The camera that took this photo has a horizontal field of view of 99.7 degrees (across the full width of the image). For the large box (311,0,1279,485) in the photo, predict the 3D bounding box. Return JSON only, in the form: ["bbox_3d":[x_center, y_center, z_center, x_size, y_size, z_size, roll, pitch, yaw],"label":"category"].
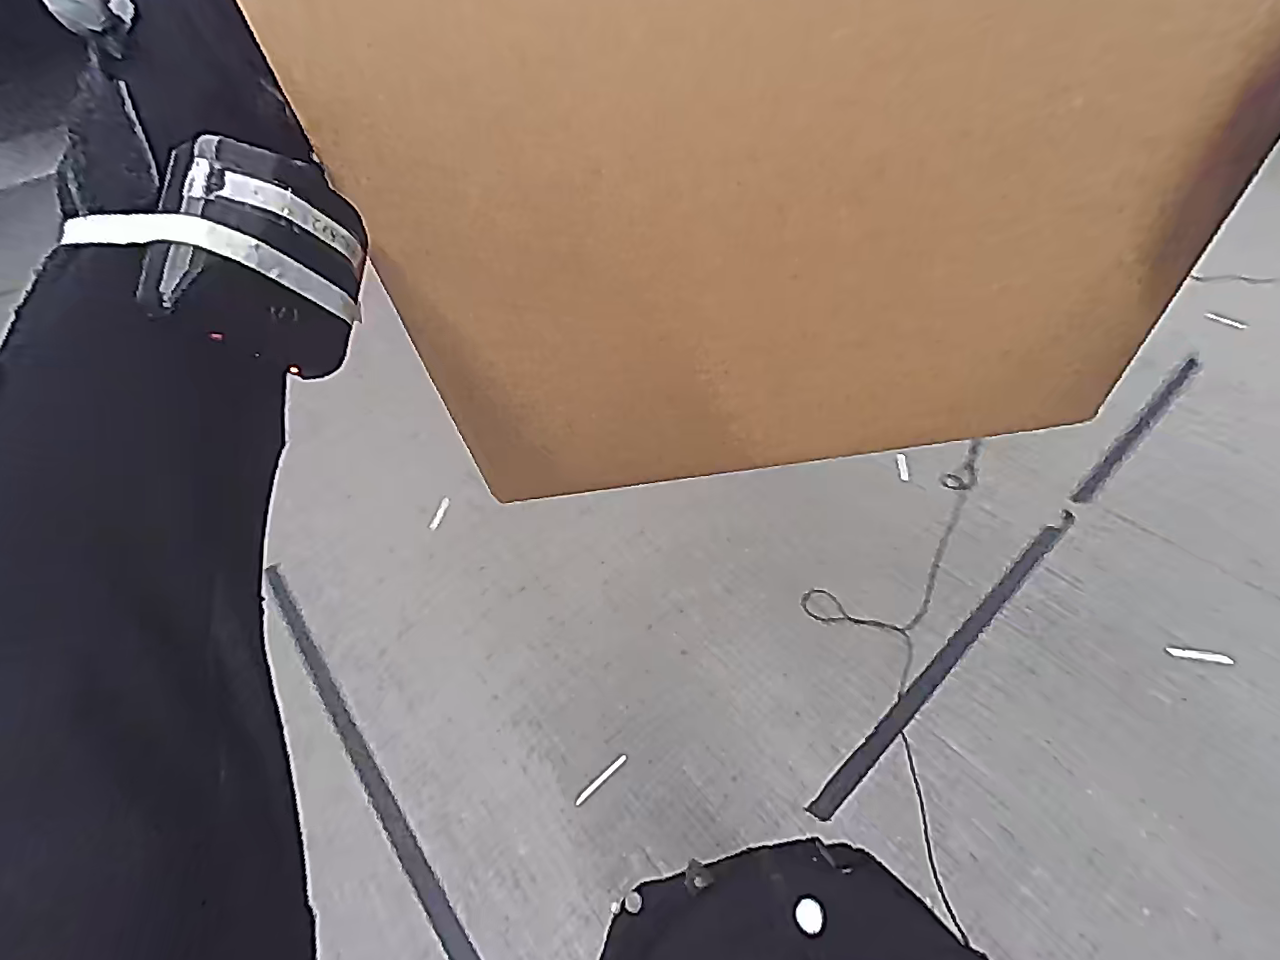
[{"bbox_3d":[0.076,-0.228,0.367,0.408,0.320,0.320,-7,48,2],"label":"large box"}]
